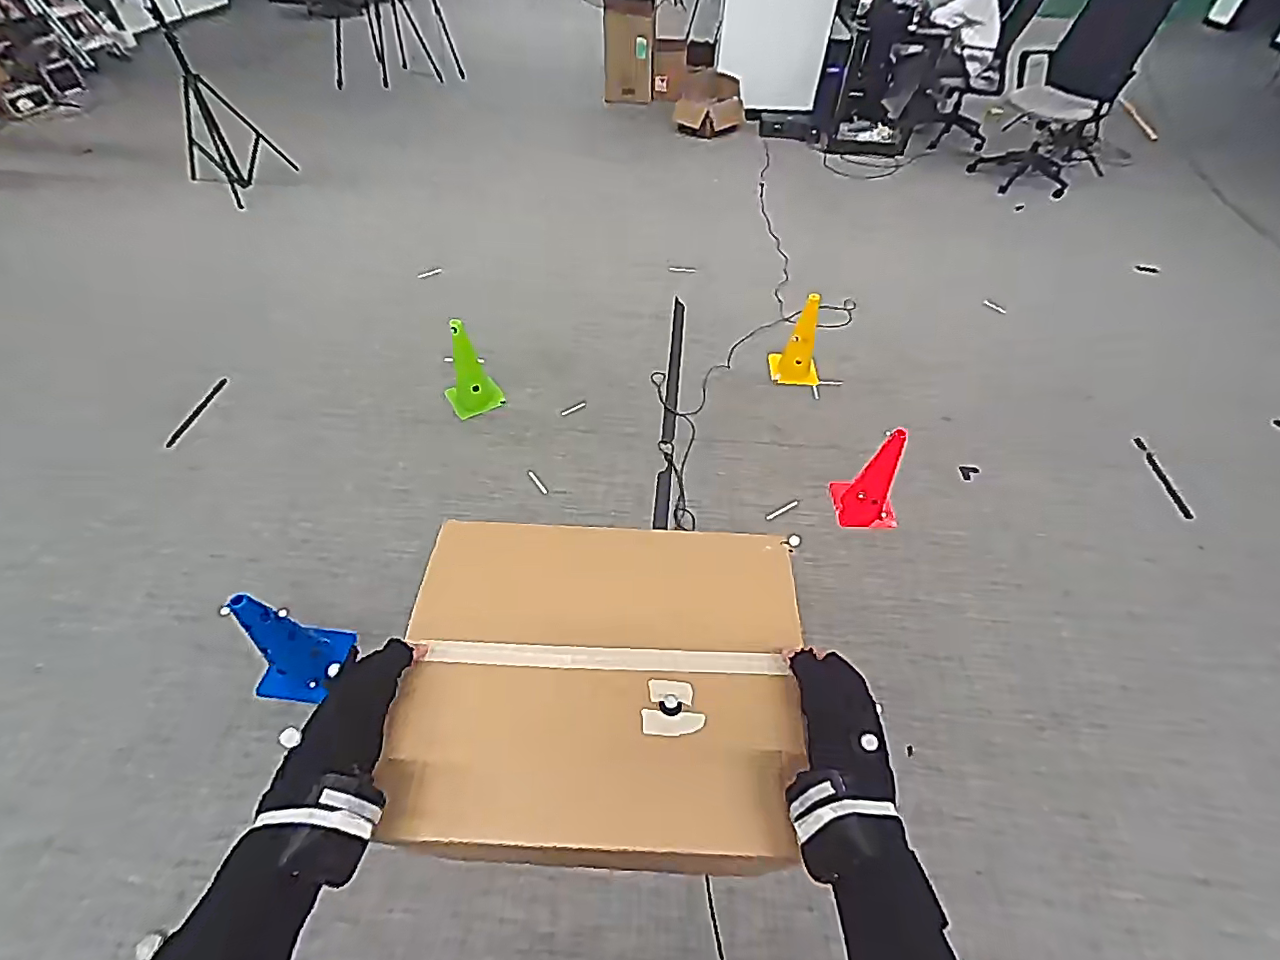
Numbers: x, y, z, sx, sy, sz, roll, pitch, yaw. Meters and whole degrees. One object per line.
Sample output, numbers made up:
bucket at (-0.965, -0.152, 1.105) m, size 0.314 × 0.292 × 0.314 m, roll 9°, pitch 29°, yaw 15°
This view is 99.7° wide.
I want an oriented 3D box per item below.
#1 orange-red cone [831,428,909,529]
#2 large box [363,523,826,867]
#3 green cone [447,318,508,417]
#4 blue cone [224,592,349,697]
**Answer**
orange-red cone at (0.780, -0.029, 1.752) m, size 0.198 × 0.360 × 0.199 m, roll 3°, pitch 48°, yaw 0°
large box at (-0.040, 0.272, 0.664) m, size 0.408 × 0.320 × 0.320 m, roll 3°, pitch 52°, yaw 0°
green cone at (-0.662, -0.457, 2.070) m, size 0.202 × 0.368 × 0.200 m, roll -26°, pitch 54°, yaw -20°
blue cone at (-0.915, 0.391, 1.364) m, size 0.192 × 0.380 × 0.193 m, roll 6°, pitch 50°, yaw 5°
